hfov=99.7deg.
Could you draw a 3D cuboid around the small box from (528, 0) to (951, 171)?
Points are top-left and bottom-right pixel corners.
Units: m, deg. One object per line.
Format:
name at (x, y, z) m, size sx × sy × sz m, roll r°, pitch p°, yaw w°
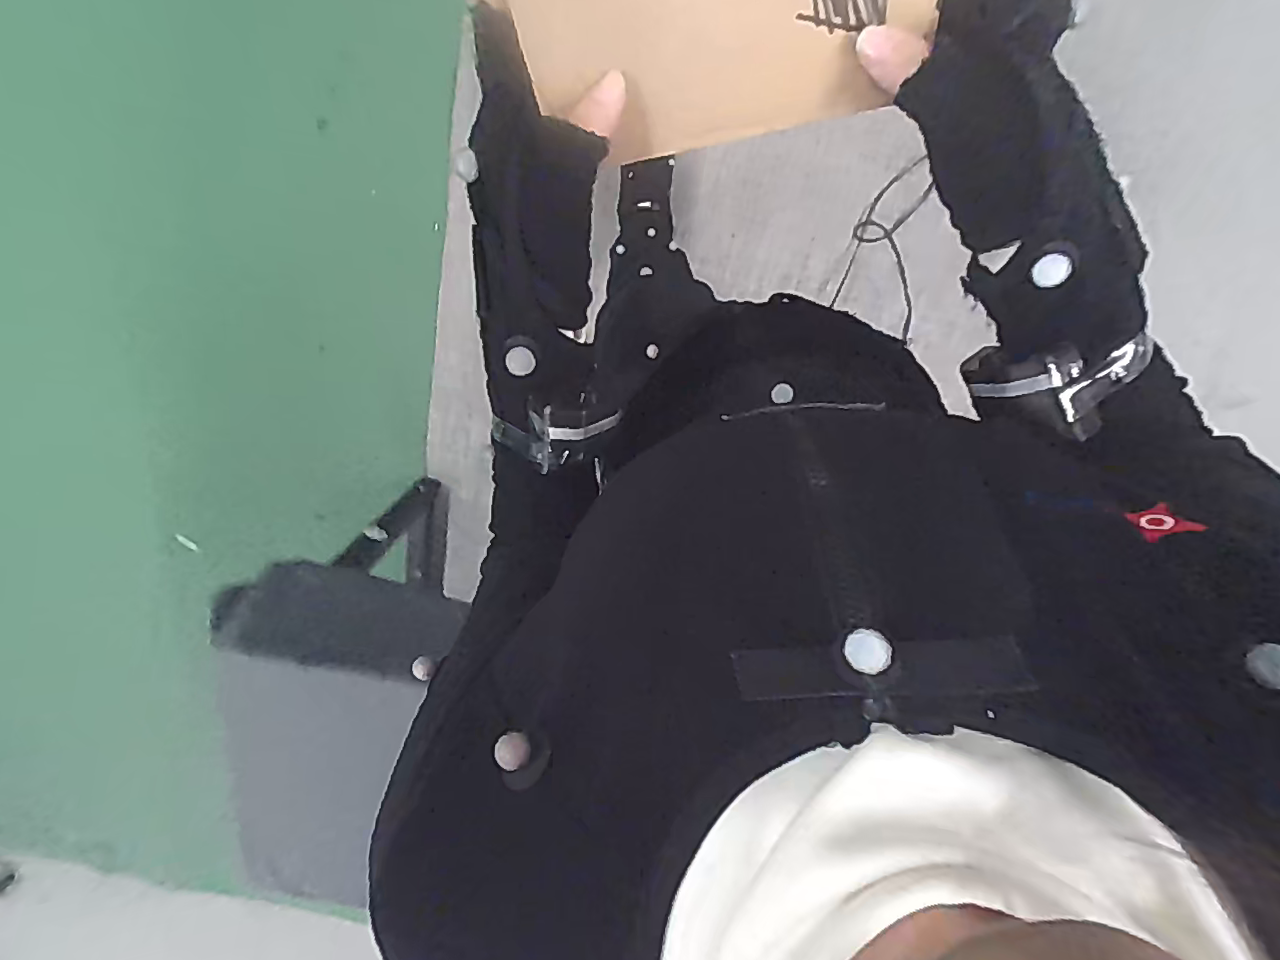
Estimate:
small box at (0.033, -0.282, 0.249) m, size 0.179 × 0.176 × 0.168 m, roll -9°, pitch 141°, yaw 10°
